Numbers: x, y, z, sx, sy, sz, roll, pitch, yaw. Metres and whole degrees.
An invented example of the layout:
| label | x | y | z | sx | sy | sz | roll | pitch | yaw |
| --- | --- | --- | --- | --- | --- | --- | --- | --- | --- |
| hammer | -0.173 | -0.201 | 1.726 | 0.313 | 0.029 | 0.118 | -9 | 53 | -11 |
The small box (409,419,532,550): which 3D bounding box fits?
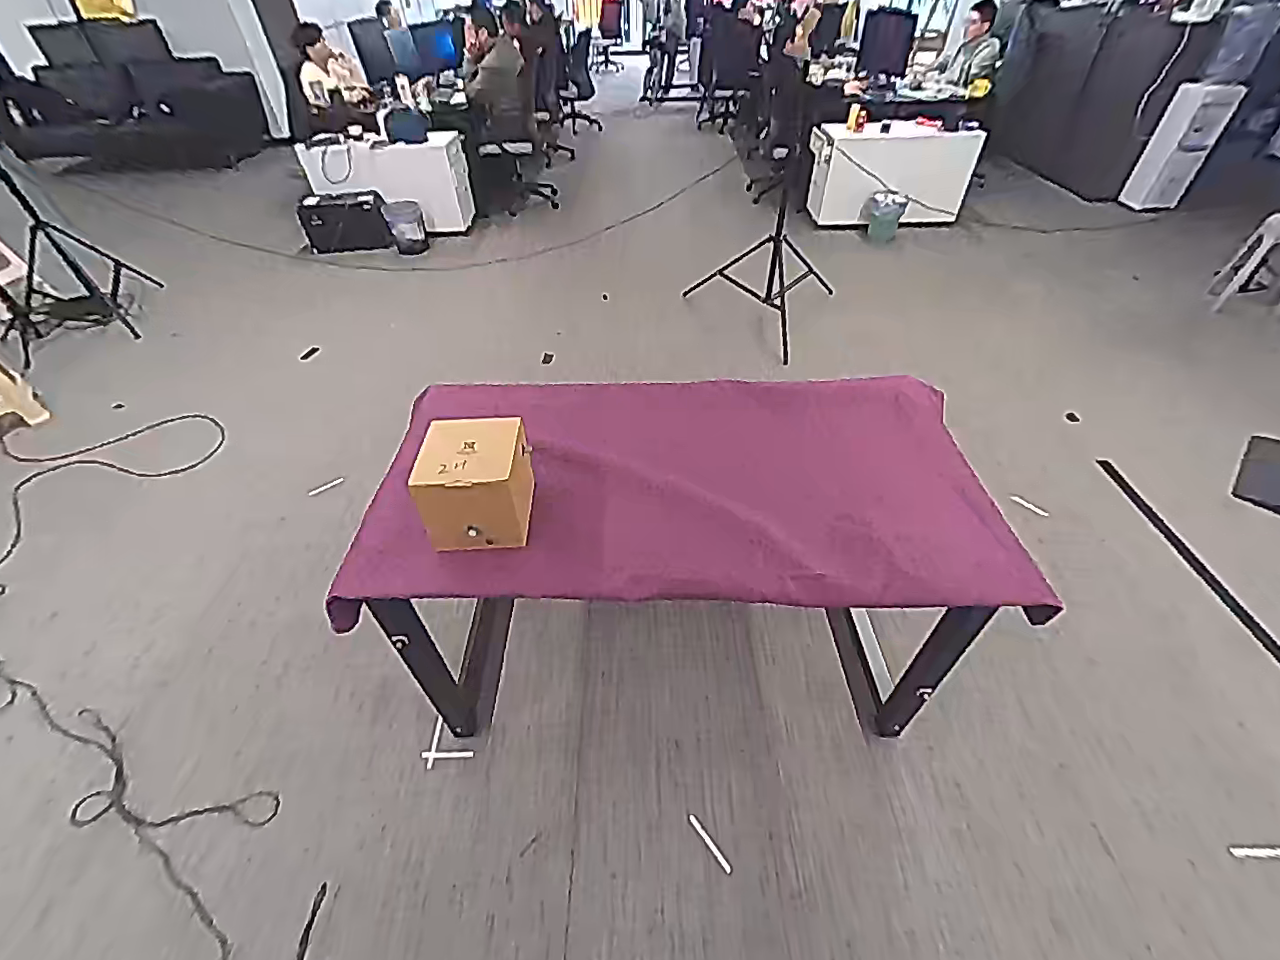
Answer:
| label | x | y | z | sx | sy | sz | roll | pitch | yaw |
| --- | --- | --- | --- | --- | --- | --- | --- | --- | --- |
| small box | -0.297 | 0.008 | 0.994 | 0.168 | 0.176 | 0.179 | -3 | 43 | -1 |
